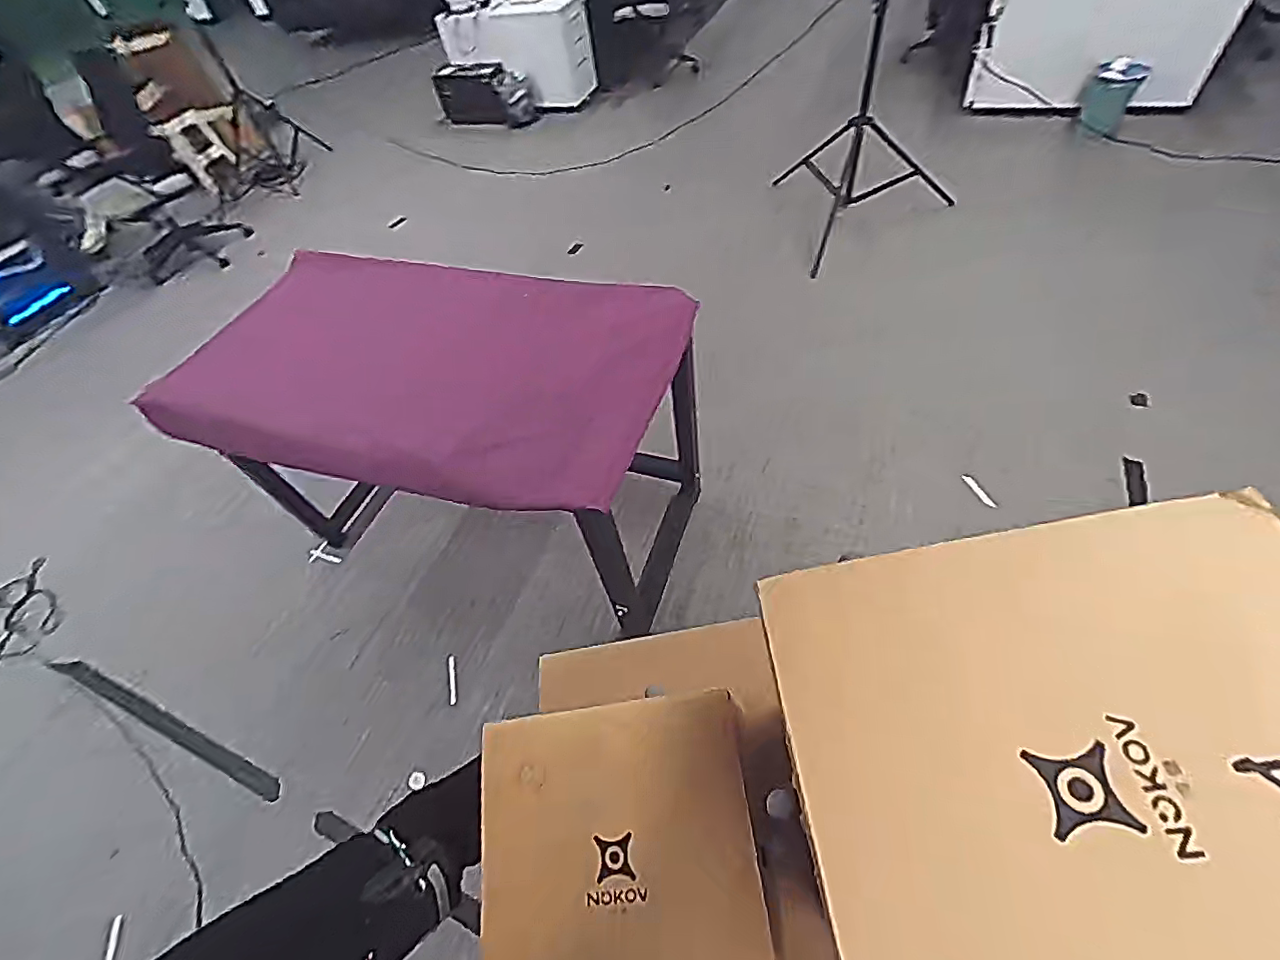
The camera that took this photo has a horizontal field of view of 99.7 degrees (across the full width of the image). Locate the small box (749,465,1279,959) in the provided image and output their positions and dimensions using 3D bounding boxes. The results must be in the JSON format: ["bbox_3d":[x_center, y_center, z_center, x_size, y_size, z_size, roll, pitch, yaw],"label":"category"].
[{"bbox_3d":[0.153,0.121,0.221,0.179,0.176,0.168,-13,58,9],"label":"small box"}]

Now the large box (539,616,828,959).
[{"bbox_3d":[0.142,0.346,0.582,0.408,0.320,0.320,-15,55,8],"label":"large box"}]
